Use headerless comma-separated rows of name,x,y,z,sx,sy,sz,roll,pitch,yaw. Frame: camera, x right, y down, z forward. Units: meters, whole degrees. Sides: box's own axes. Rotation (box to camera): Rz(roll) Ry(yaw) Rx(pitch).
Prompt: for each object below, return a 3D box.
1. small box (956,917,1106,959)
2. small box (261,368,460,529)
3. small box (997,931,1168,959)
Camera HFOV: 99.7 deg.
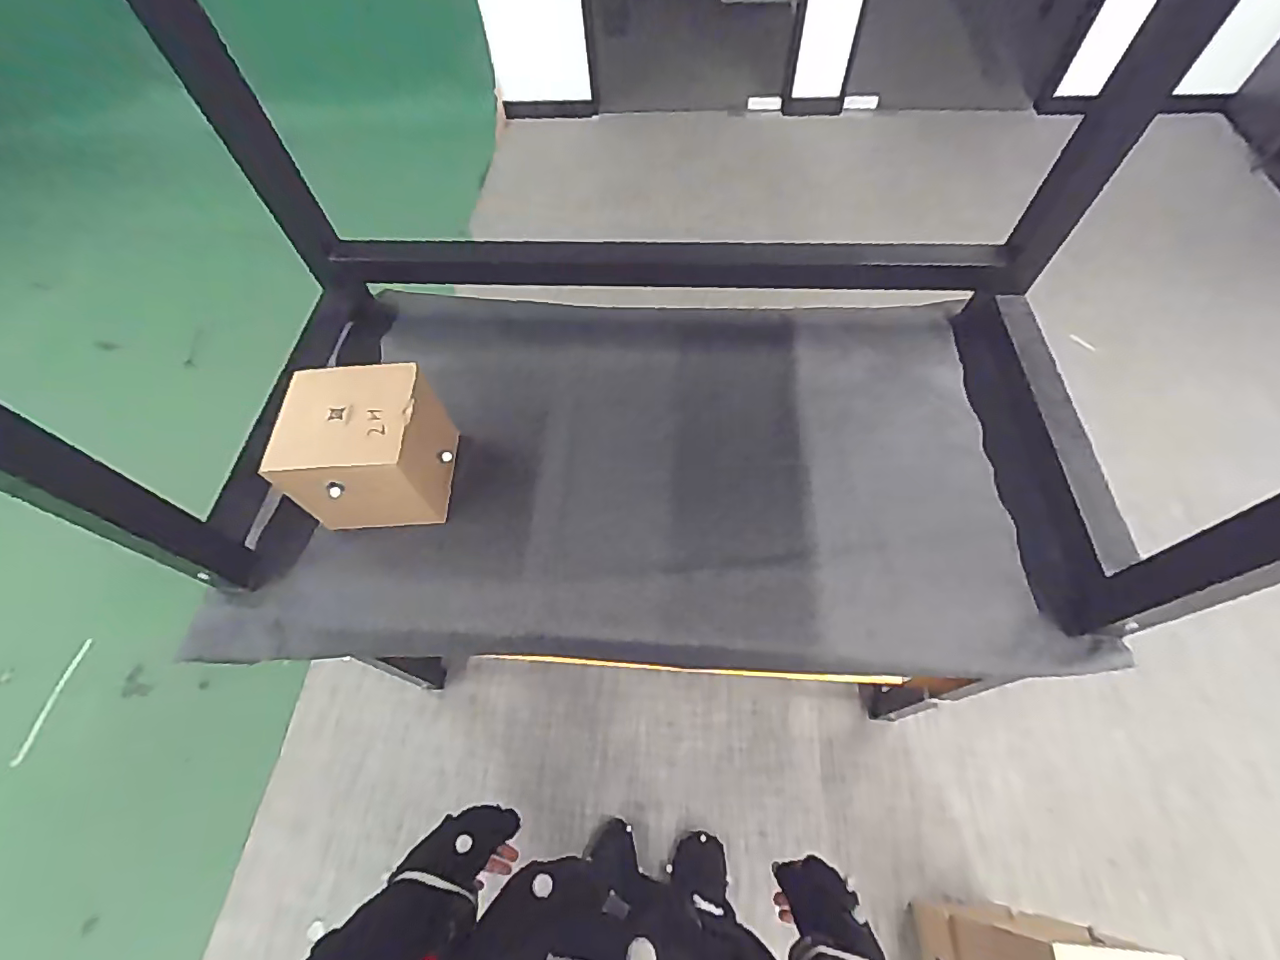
small box,0.639,0.824,0.859,0.168,0.176,0.179,0,58,3
small box,-0.378,-0.038,0.769,0.179,0.176,0.168,-3,60,1
small box,0.618,0.735,0.724,0.168,0.176,0.179,2,59,5
